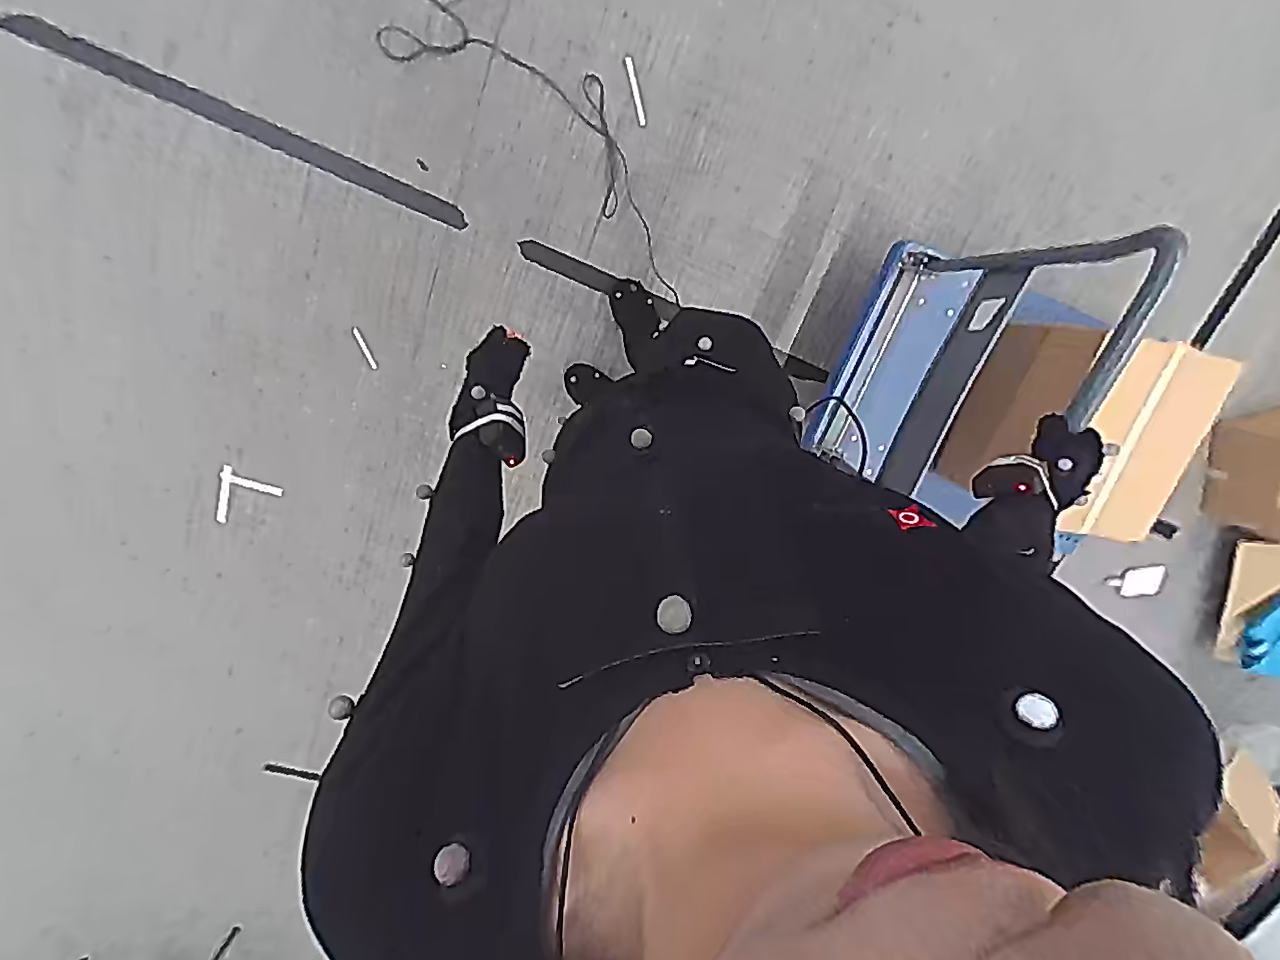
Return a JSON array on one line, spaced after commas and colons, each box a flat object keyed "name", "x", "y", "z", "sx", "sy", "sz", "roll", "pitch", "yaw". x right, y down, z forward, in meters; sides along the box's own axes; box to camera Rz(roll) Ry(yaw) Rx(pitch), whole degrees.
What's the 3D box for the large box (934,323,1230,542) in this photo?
[{"name": "large box", "x": 0.969, "y": -0.123, "z": 1.246, "sx": 0.320, "sy": 0.320, "sz": 0.408, "roll": 11, "pitch": 109, "yaw": -7}]
